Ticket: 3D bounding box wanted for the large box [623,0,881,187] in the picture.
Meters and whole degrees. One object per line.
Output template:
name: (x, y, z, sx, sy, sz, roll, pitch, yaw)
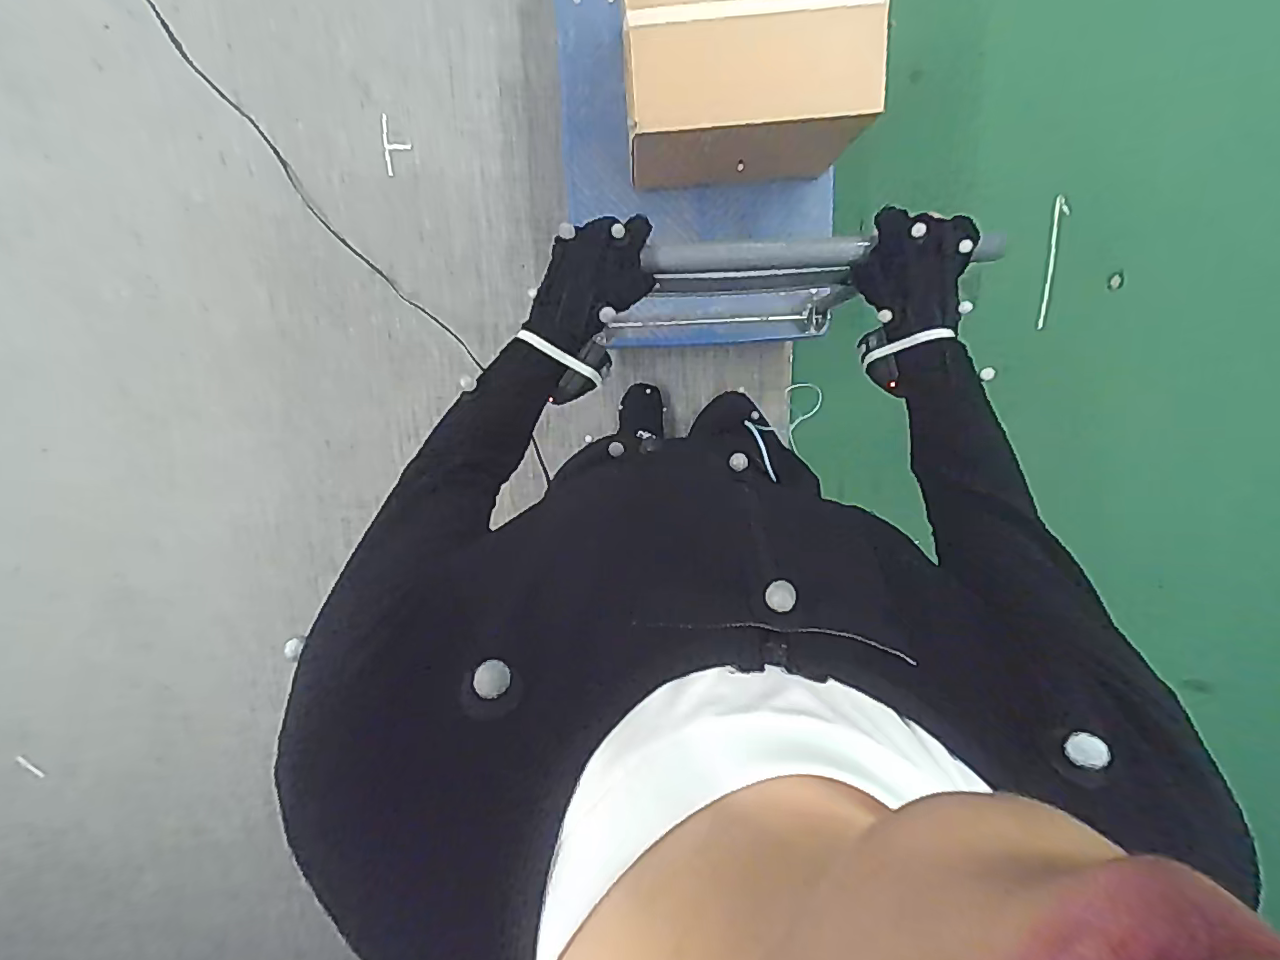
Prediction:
large box: (0.183, -0.767, 0.994, 0.408, 0.320, 0.320, -5, 102, 2)
